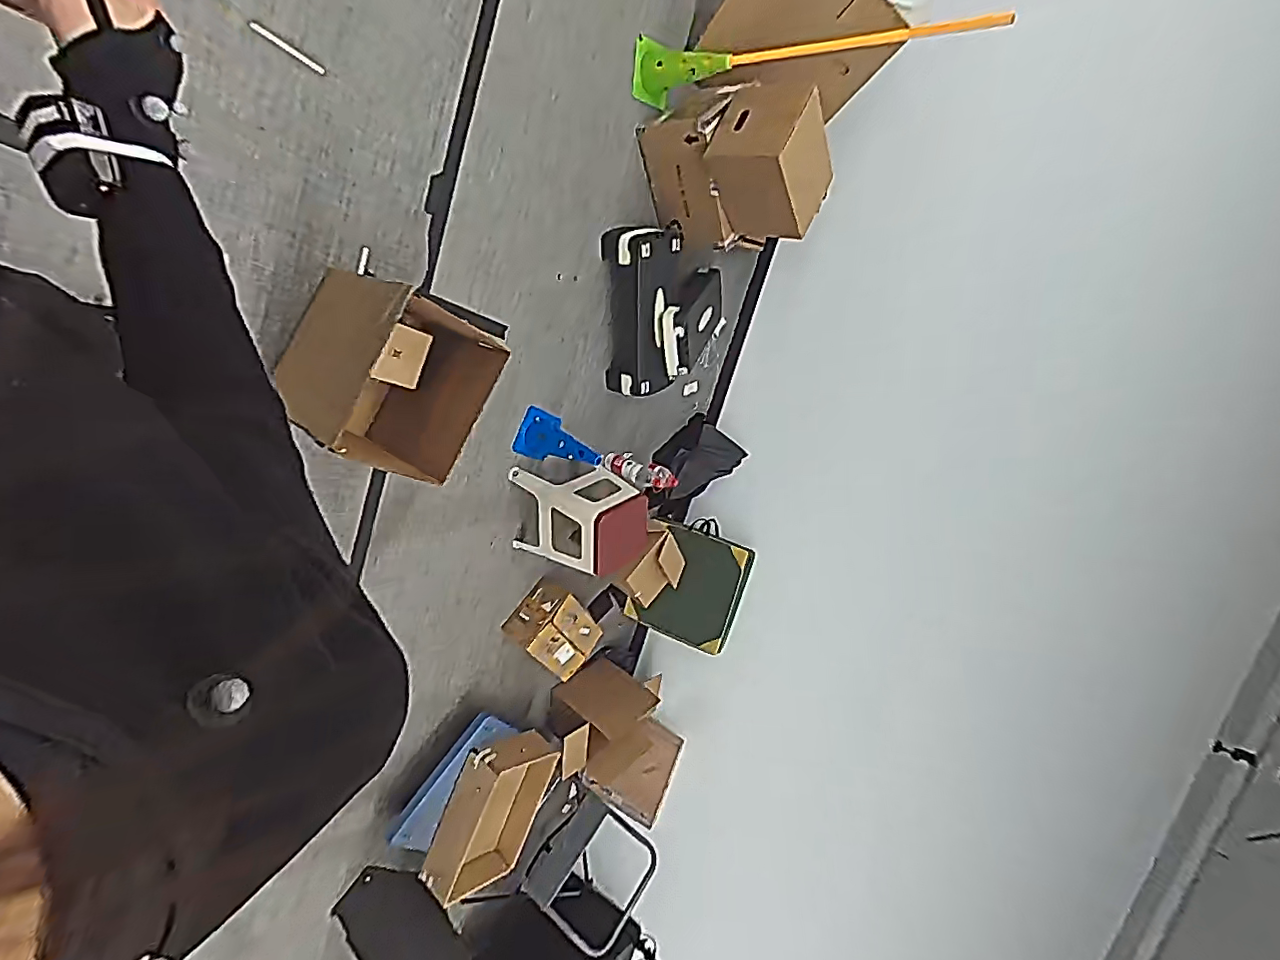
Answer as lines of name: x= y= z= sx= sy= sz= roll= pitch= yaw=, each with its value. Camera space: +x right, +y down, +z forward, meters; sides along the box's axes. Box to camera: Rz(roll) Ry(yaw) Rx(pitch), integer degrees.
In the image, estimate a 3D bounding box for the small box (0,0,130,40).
small box: x=-0.494 y=-0.468 z=0.392 sx=0.168 sy=0.176 sz=0.179 roll=-2 pitch=113 yaw=-53
